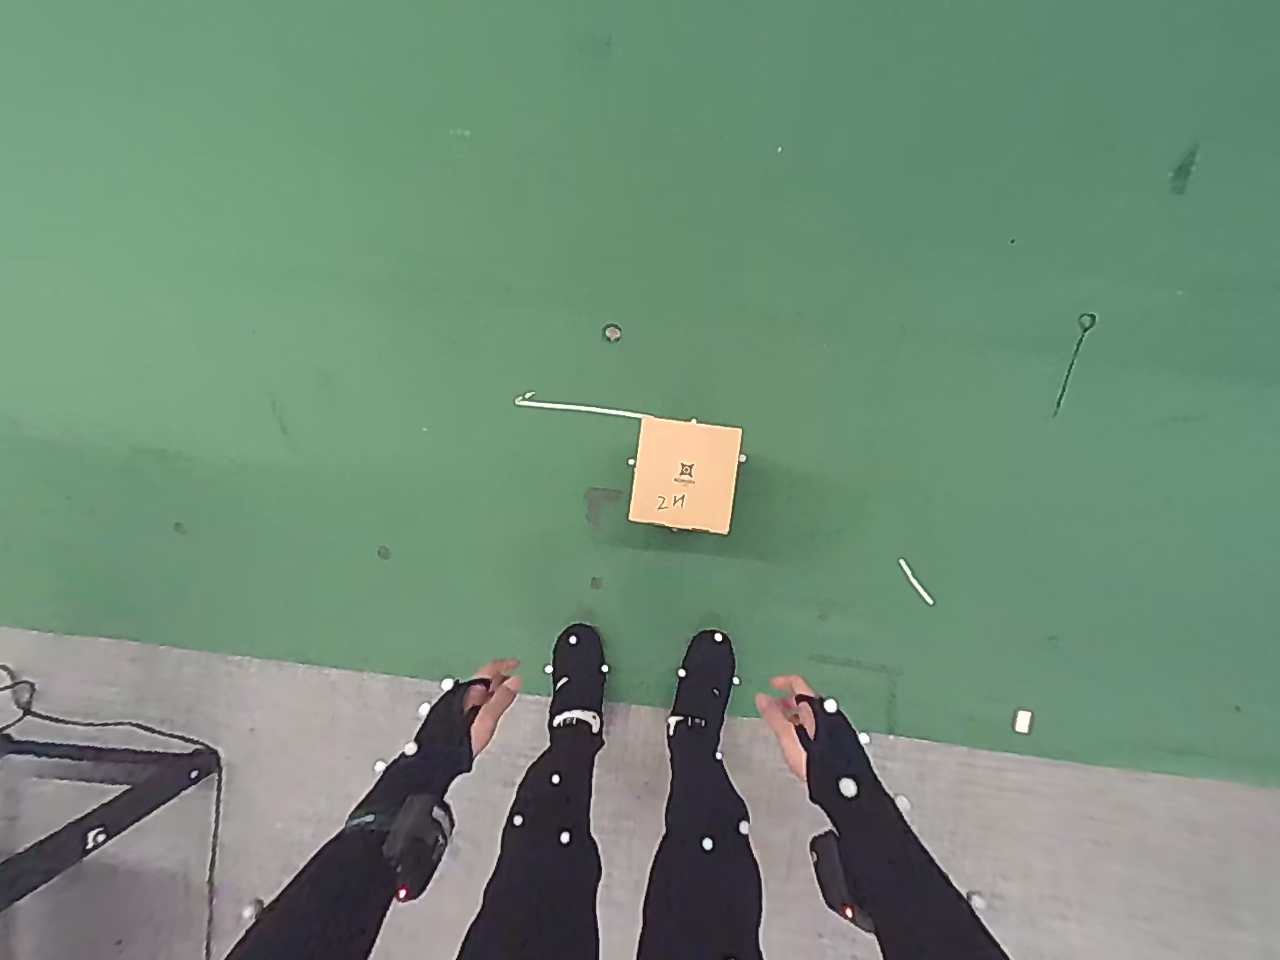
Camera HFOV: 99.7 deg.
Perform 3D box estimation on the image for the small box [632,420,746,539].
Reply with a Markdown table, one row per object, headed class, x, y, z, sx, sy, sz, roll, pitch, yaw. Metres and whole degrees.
| class | x | y | z | sx | sy | sz | roll | pitch | yaw |
| --- | --- | --- | --- | --- | --- | --- | --- | --- | --- |
| small box | 0.082 | 0.000 | 0.951 | 0.168 | 0.176 | 0.179 | 8 | 90 | 3 |
